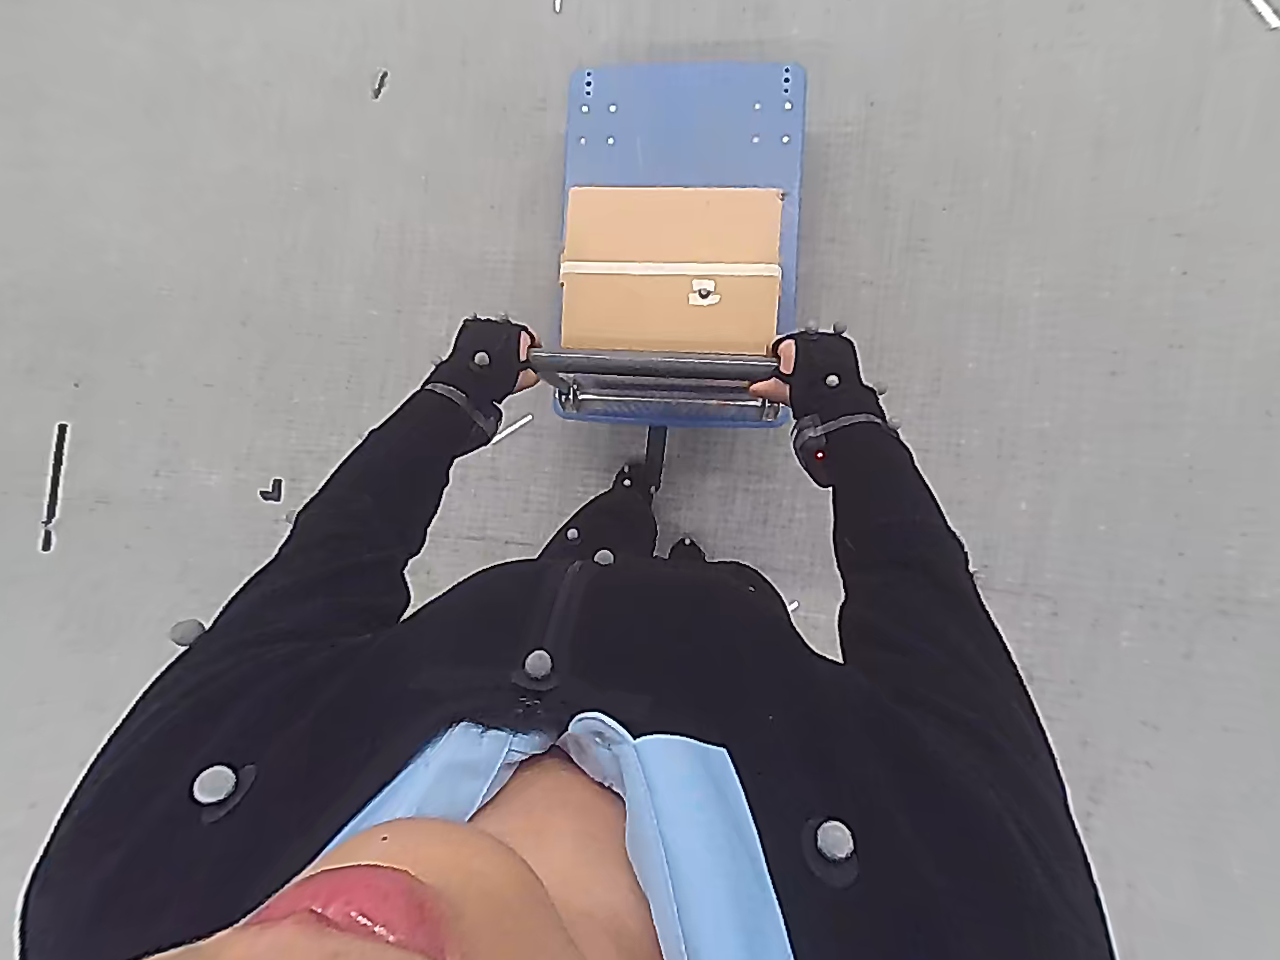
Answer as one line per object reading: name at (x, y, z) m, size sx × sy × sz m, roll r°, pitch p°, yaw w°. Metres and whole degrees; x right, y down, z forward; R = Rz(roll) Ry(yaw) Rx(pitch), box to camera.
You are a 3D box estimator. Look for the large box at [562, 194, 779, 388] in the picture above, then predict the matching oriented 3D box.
large box at (0.063, -0.381, 1.160) m, size 0.408 × 0.320 × 0.320 m, roll 3°, pitch 90°, yaw 4°
